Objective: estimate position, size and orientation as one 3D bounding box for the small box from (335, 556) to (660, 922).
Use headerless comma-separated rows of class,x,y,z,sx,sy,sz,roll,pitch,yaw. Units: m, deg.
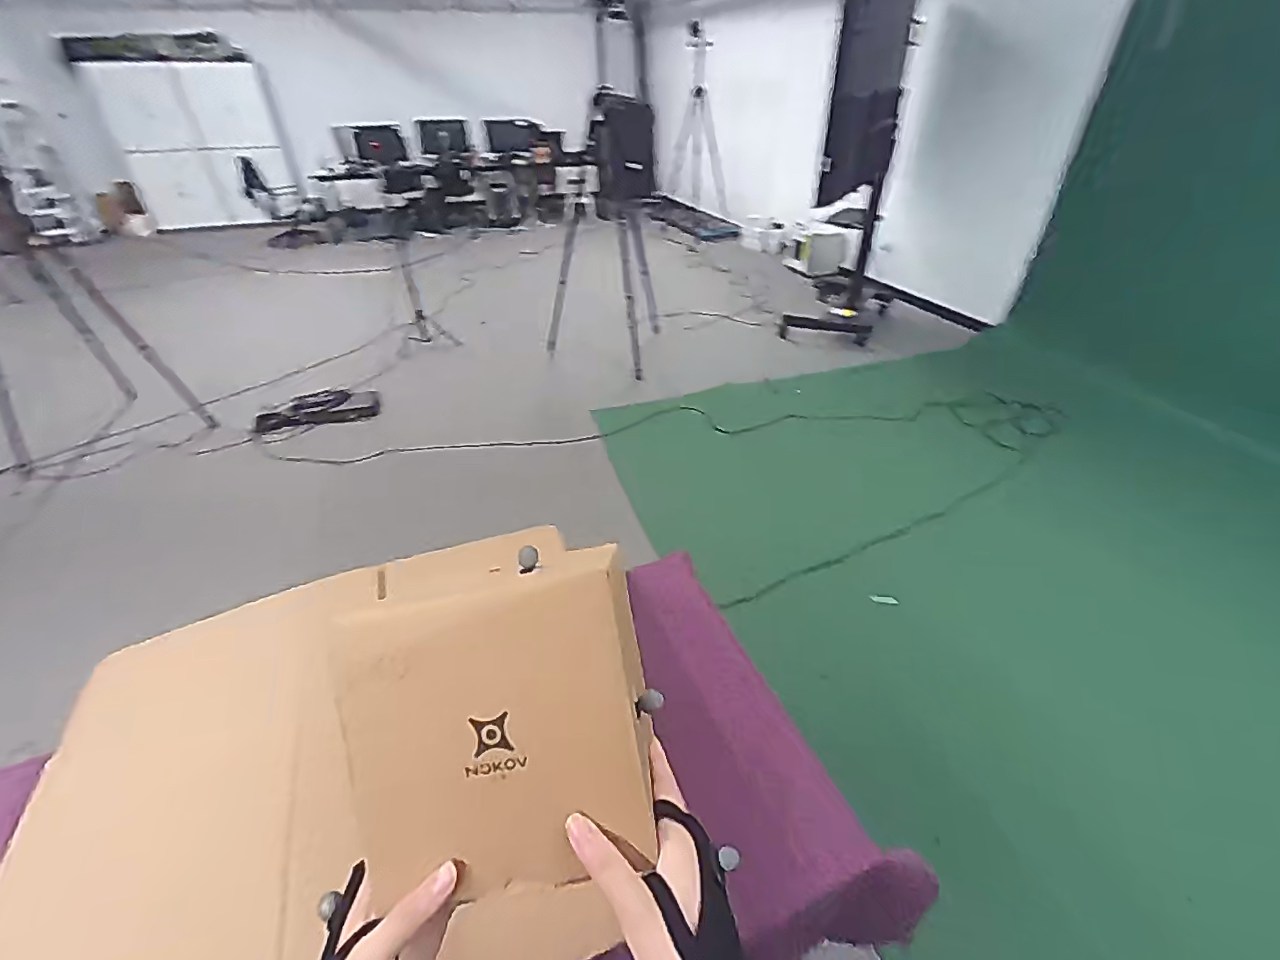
small box,-0.083,0.156,0.391,0.168,0.179,0.176,-10,0,0
